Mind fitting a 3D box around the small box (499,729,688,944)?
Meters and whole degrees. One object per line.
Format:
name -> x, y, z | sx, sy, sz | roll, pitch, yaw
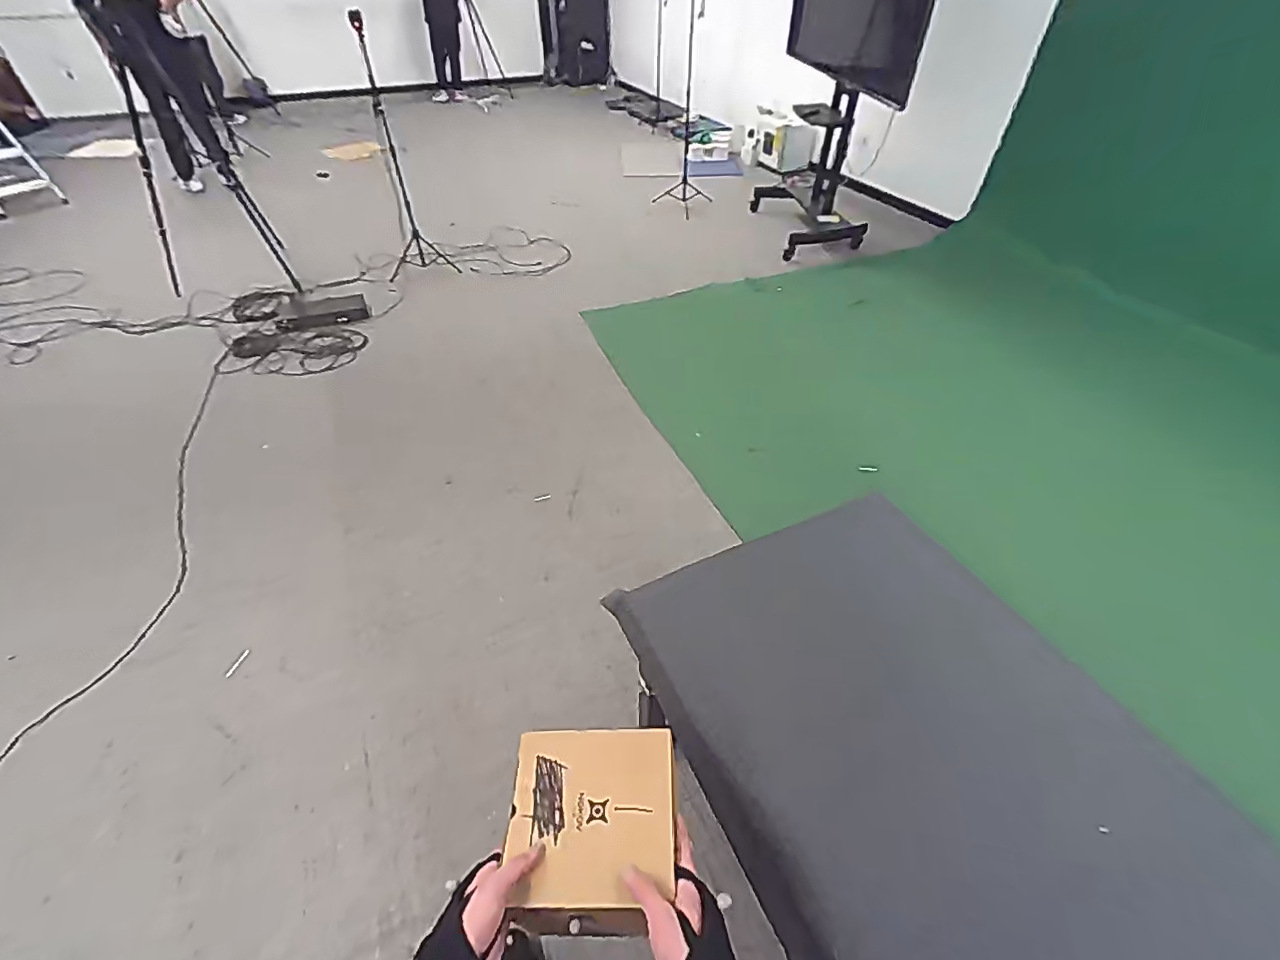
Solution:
small box -> -0.038, 0.394, 0.598 | 0.179, 0.176, 0.168 | -1, 42, 2
